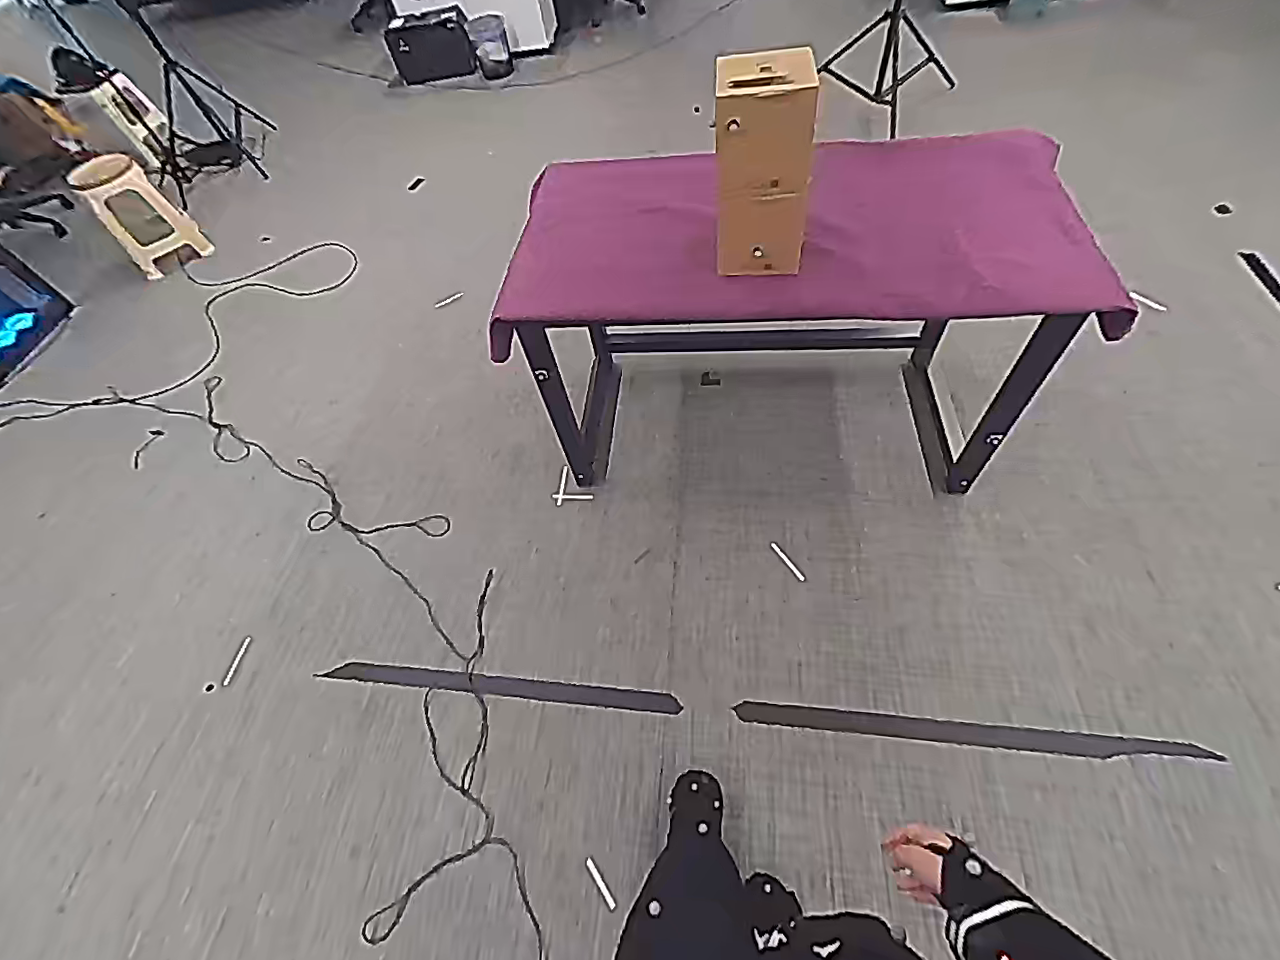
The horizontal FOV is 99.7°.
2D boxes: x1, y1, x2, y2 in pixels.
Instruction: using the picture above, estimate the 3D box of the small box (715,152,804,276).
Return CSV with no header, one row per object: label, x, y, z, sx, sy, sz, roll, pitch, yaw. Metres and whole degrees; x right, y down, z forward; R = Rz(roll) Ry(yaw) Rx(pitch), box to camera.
small box,0.242,-0.544,1.112,0.168,0.176,0.179,3,56,11
